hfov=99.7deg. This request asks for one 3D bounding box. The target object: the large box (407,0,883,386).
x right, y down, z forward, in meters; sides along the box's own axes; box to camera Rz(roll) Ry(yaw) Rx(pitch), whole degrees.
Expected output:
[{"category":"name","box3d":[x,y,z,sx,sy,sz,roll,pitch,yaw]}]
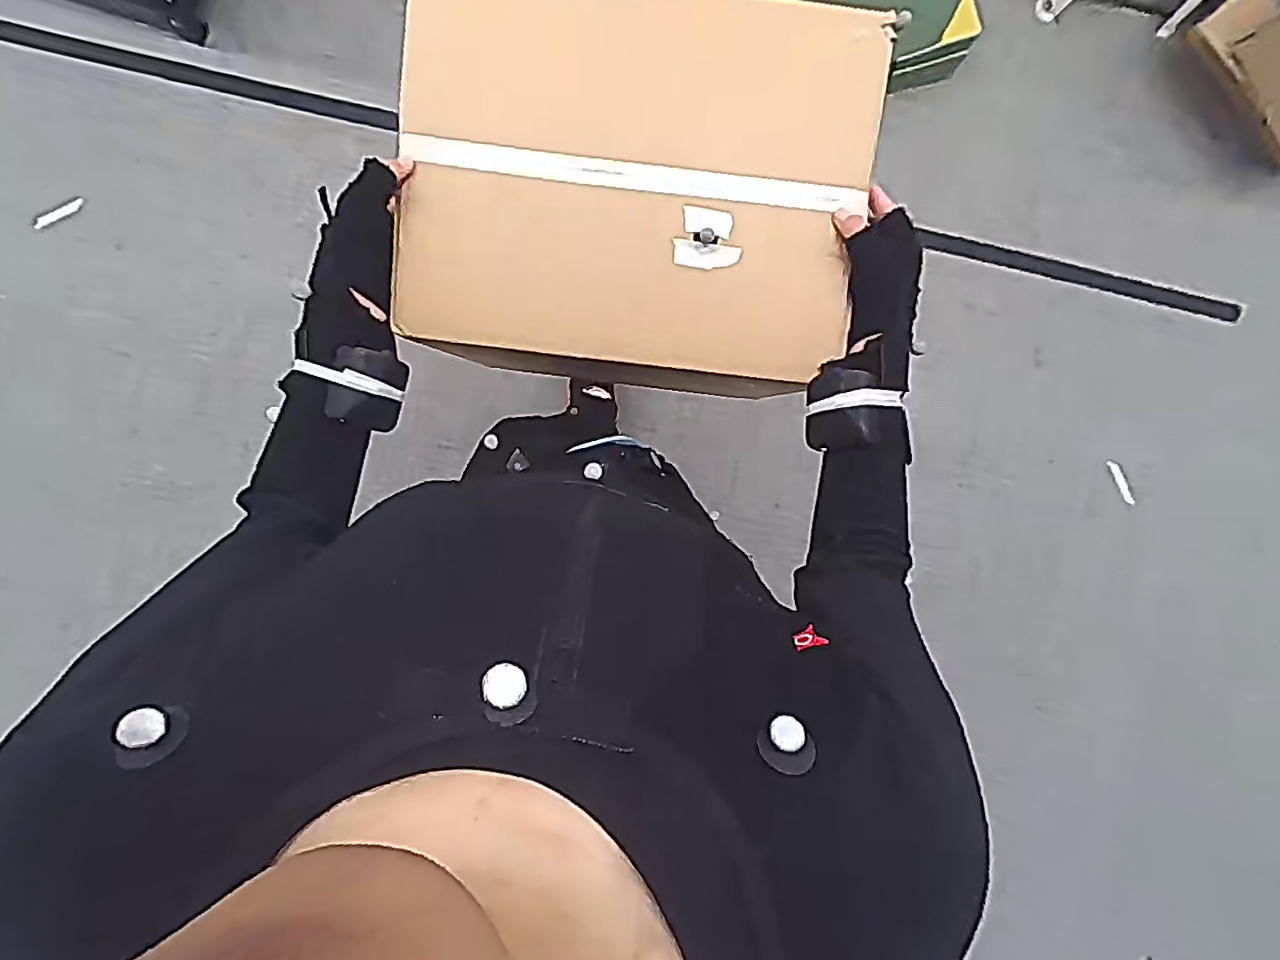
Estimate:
[{"category":"large box","box3d":[-0.005,-0.290,0.628,0.408,0.320,0.320,7,98,-2]}]
